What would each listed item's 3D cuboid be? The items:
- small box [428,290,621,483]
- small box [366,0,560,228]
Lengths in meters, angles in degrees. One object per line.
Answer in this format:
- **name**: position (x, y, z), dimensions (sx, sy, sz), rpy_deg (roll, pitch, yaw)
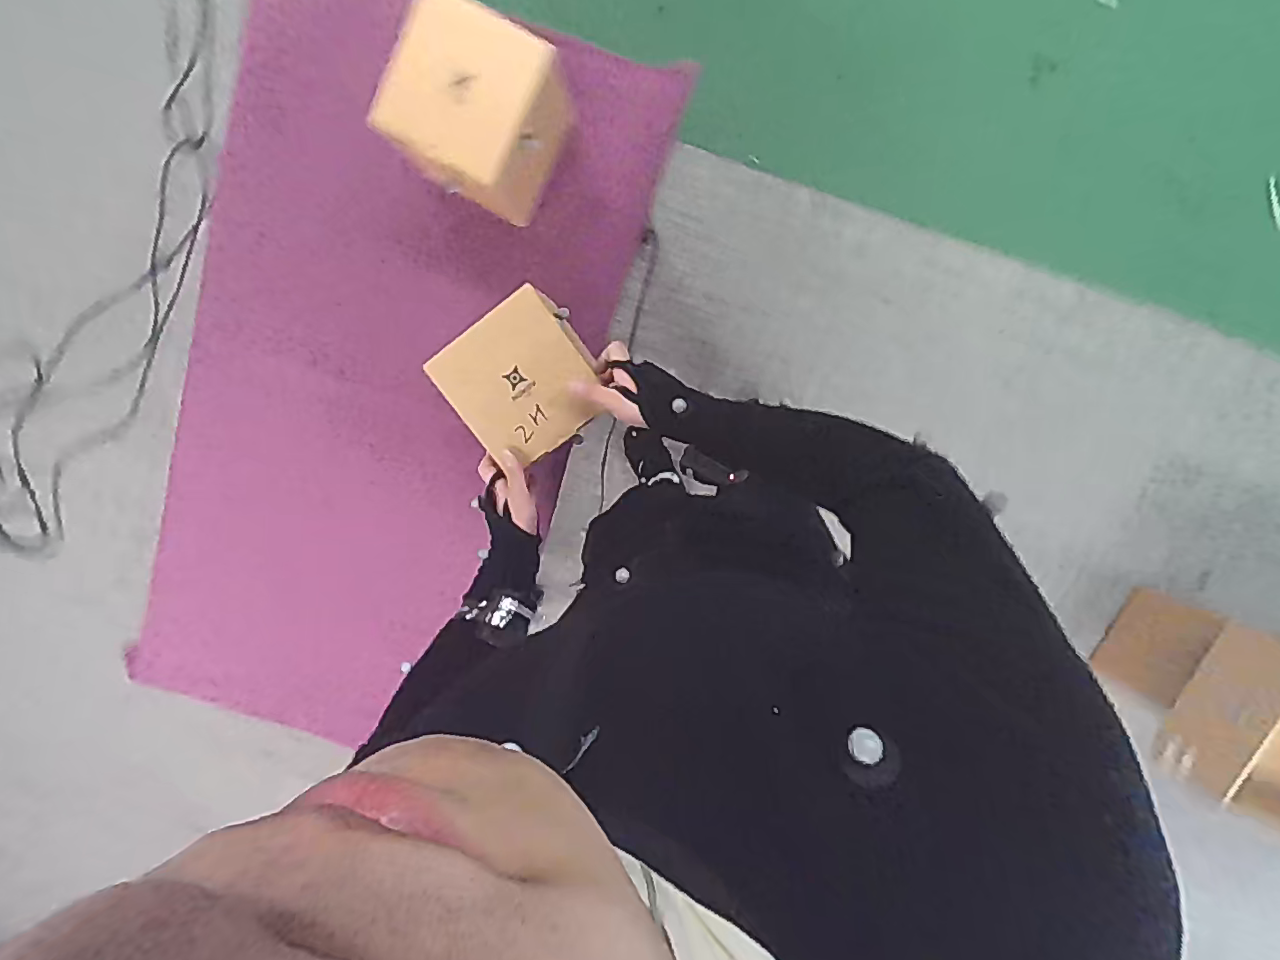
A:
- **small box**: position (-0.140, -0.122, 0.727), dimensions (0.168, 0.176, 0.179), rpy_deg (-35, 99, 7)
- **small box**: position (-0.220, -0.474, 0.721), dimensions (0.168, 0.176, 0.179), rpy_deg (27, 100, -2)
